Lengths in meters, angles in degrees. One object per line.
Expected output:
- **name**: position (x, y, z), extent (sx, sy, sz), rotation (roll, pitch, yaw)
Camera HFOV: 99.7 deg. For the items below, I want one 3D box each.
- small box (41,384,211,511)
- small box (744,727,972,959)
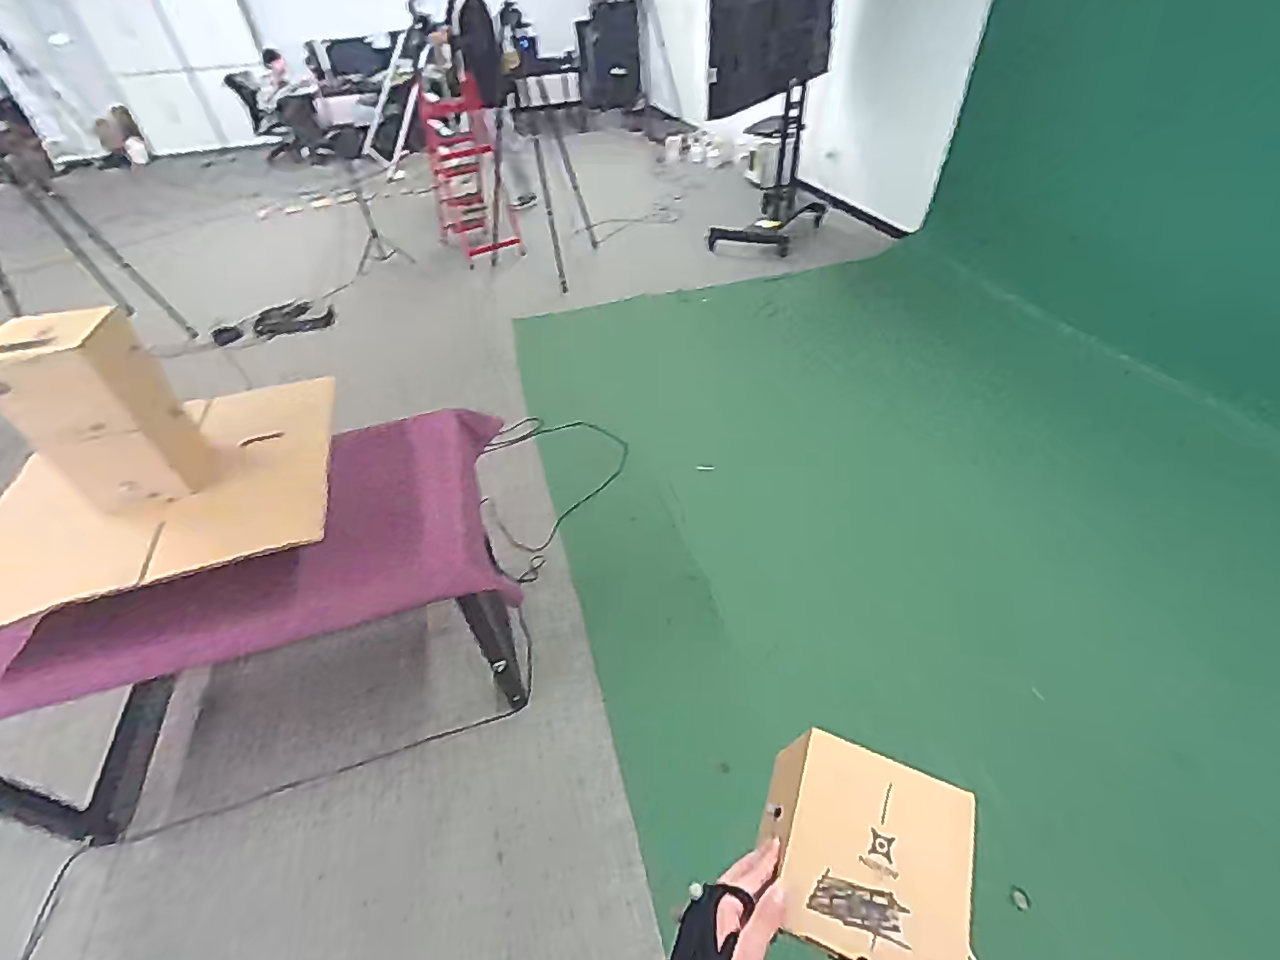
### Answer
- **small box**: position (-1.009, -0.065, 1.085), extent (0.168, 0.176, 0.179), rotation (-13, 45, -13)
- **small box**: position (0.216, 0.394, 0.566), extent (0.168, 0.176, 0.179), rotation (19, 55, 12)
